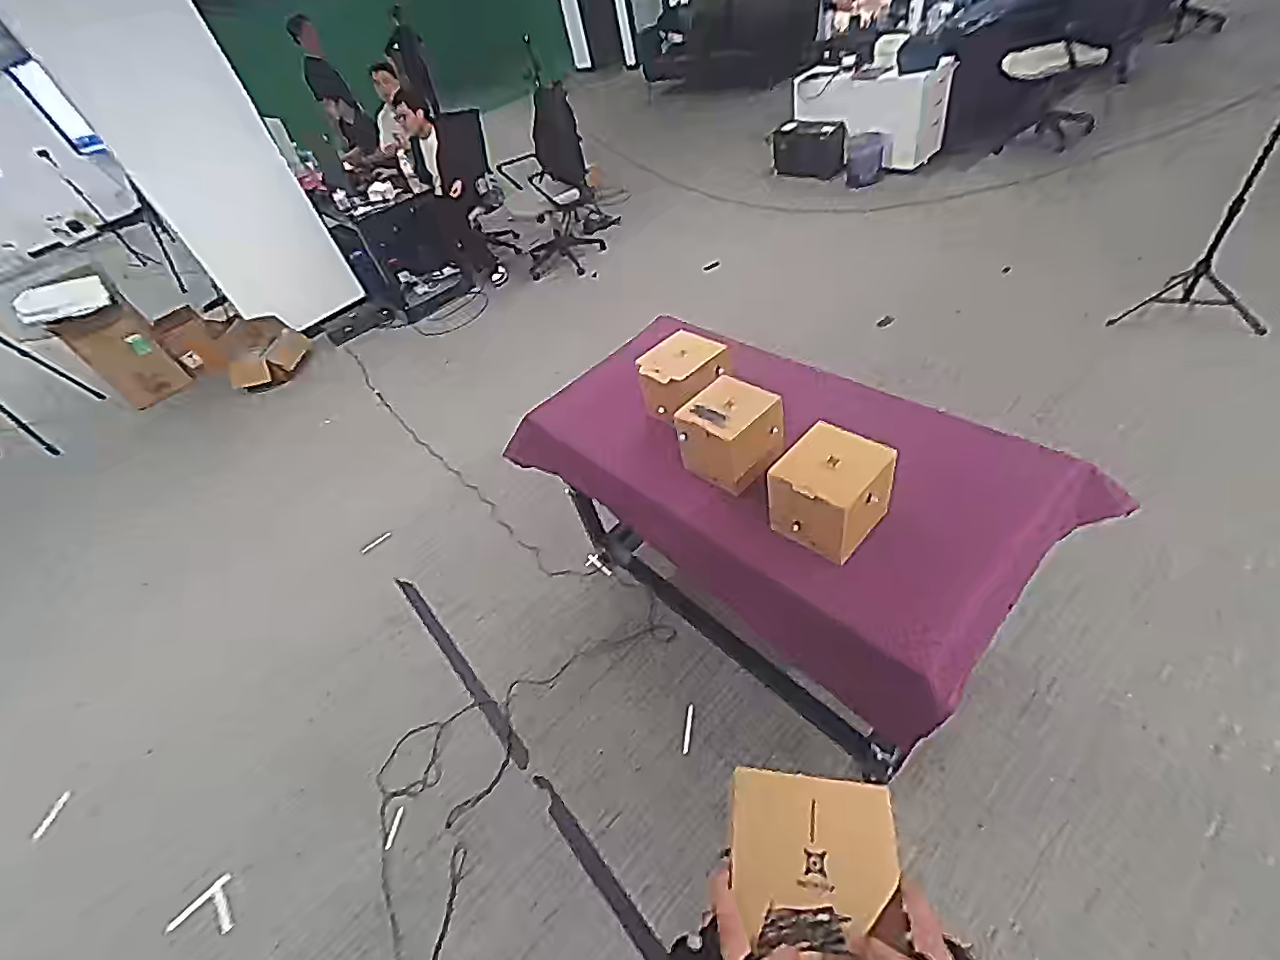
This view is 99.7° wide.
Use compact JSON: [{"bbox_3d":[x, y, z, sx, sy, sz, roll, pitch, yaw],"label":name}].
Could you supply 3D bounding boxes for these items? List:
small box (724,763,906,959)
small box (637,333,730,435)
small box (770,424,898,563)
[{"bbox_3d":[0.182,0.438,0.607,0.168,0.176,0.179,3,54,9],"label":"small box"},{"bbox_3d":[0.119,-0.250,1.405,0.179,0.176,0.168,-40,48,-21],"label":"small box"},{"bbox_3d":[0.373,0.026,1.060,0.179,0.176,0.168,-41,49,-23],"label":"small box"}]
